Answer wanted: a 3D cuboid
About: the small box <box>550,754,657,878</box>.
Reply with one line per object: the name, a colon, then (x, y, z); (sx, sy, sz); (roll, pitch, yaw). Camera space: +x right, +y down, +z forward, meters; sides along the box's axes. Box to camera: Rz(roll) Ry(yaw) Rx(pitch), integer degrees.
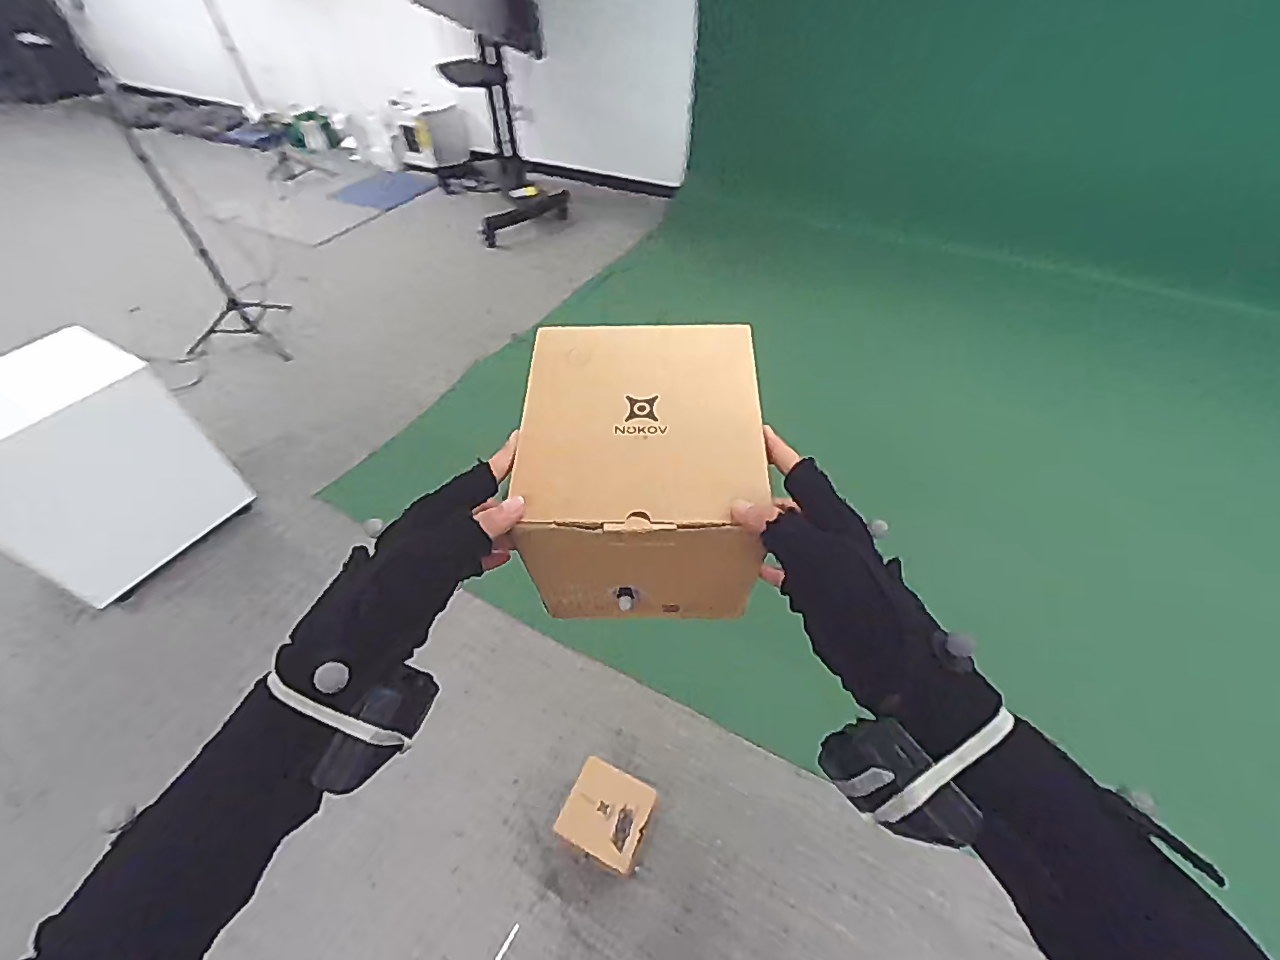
small box: (-0.075, 0.749, 1.200); (0.179, 0.176, 0.168); (20, 51, 18)
